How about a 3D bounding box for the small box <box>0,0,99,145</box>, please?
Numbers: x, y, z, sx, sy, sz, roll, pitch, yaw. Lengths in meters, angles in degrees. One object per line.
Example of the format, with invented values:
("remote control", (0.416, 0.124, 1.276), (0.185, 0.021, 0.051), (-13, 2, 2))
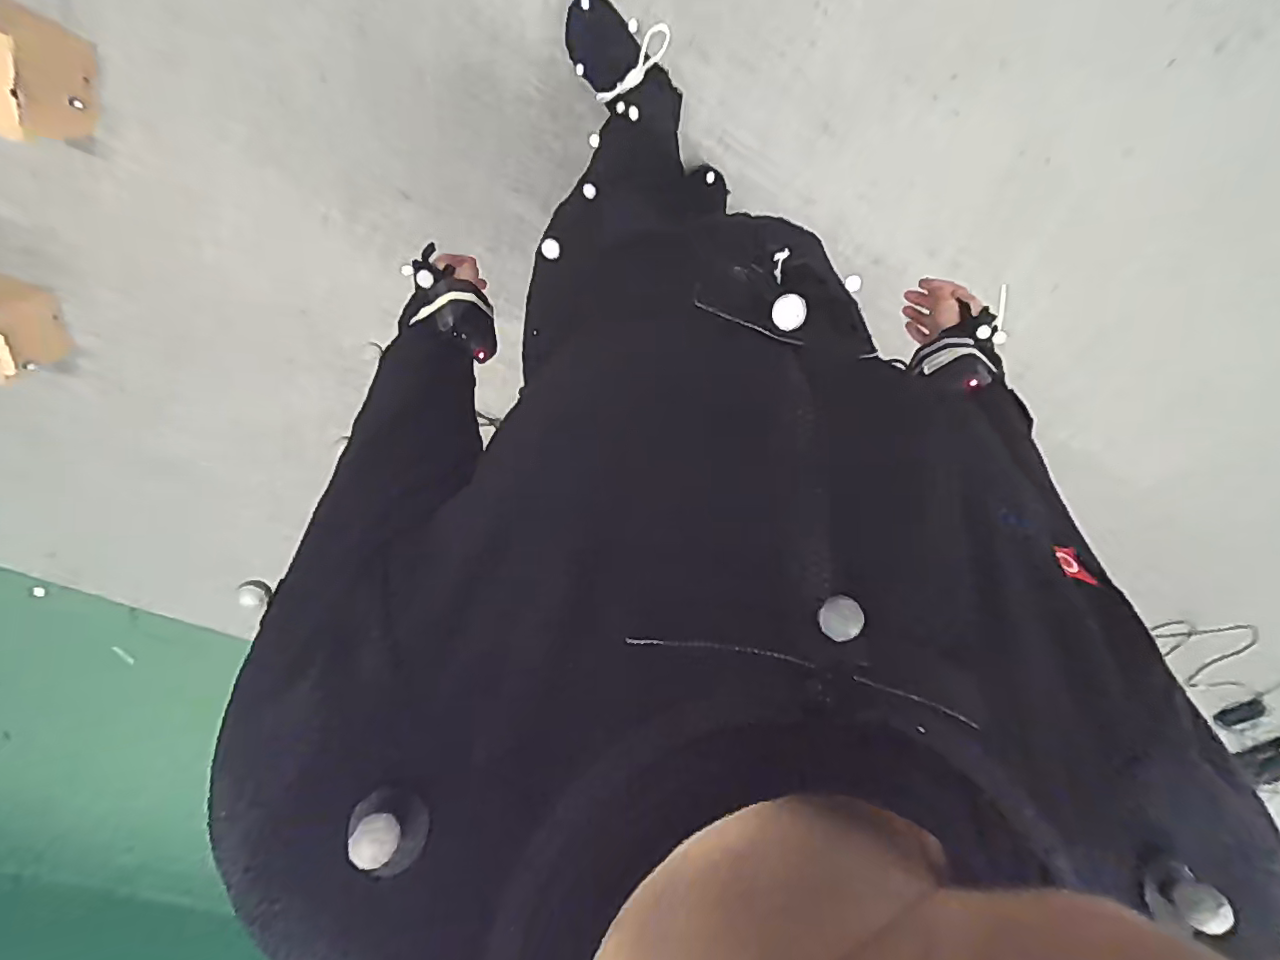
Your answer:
("small box", (-1.092, -0.708, 0.924), (0.179, 0.176, 0.168), (23, 123, -17))
